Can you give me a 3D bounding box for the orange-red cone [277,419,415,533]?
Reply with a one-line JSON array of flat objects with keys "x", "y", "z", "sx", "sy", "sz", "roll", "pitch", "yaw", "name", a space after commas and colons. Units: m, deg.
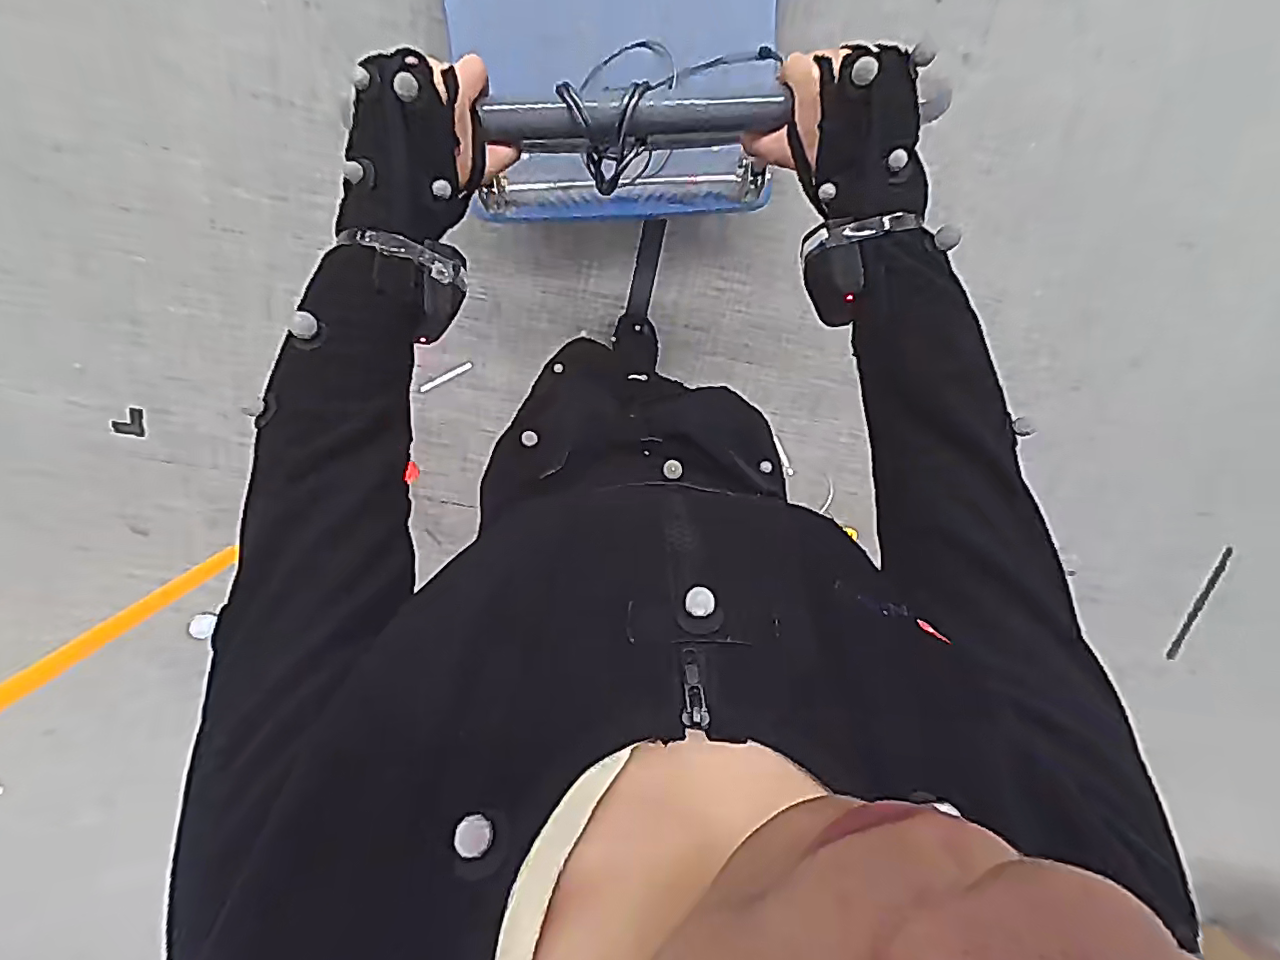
[{"x": -0.669, "y": 0.025, "z": 1.167, "sx": 0.199, "sy": 0.360, "sz": 0.198, "roll": -33, "pitch": 109, "yaw": 6, "name": "orange-red cone"}]
